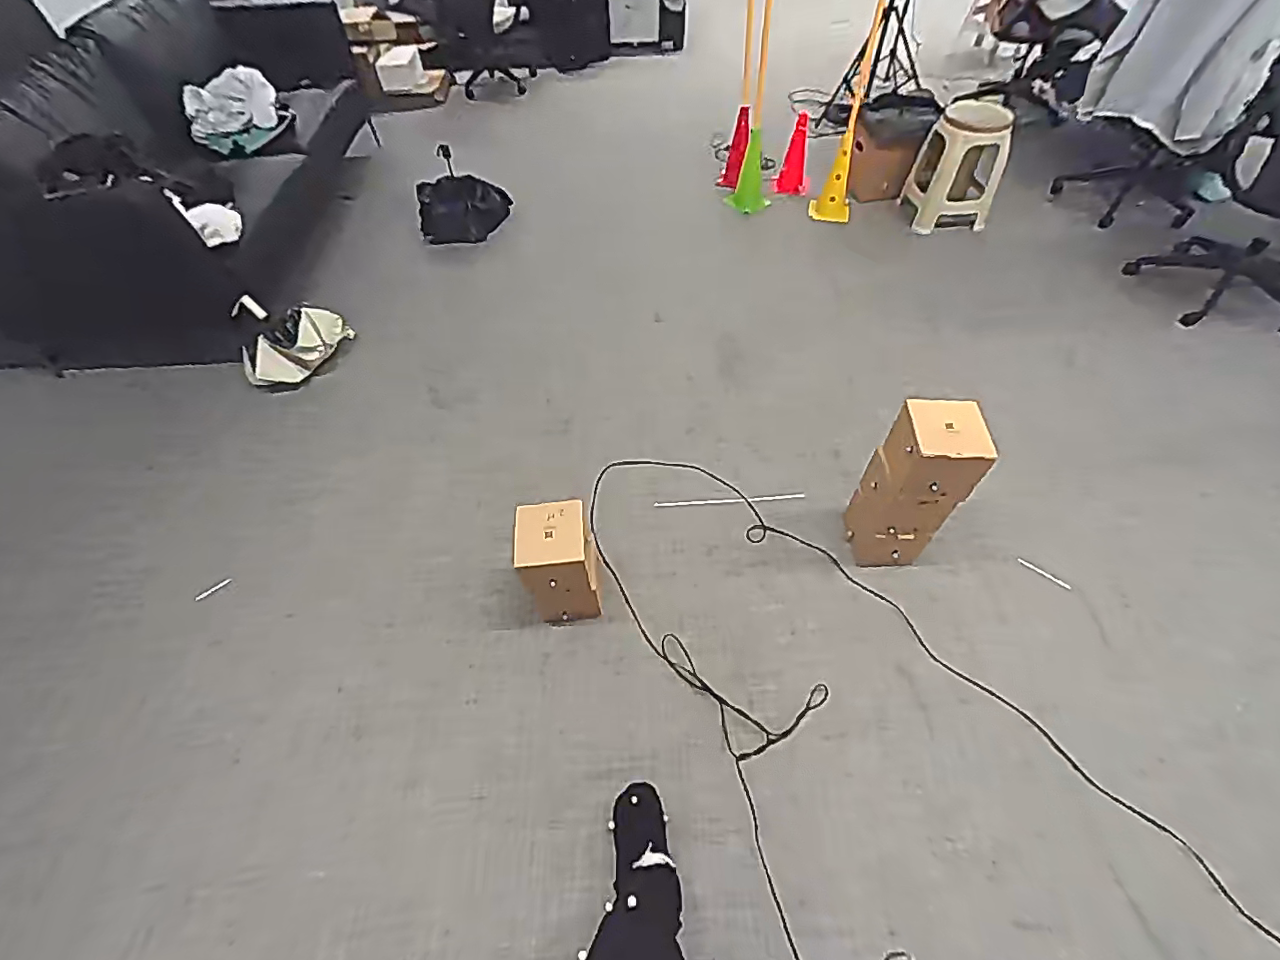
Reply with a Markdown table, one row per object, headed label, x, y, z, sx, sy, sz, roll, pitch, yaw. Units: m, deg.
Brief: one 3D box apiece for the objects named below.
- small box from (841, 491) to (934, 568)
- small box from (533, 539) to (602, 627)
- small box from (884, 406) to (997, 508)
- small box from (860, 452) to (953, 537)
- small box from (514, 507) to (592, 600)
| label | x | y | z | sx | sy | sz | roll | pitch | yaw |
| --- | --- | --- | --- | --- | --- | --- | --- | --- | --- |
| small box | 0.705 | 0.146 | 1.562 | 0.168 | 0.176 | 0.179 | -2 | 55 | -3 |
| small box | -0.197 | 0.285 | 1.491 | 0.168 | 0.176 | 0.179 | -6 | 53 | -1 |
| small box | 0.708 | -0.055 | 1.301 | 0.168 | 0.176 | 0.179 | 3 | 54 | 4 |
| small box | 0.705 | 0.042 | 1.432 | 0.168 | 0.176 | 0.179 | -2 | 52 | 1 |
| small box | -0.213 | 0.191 | 1.358 | 0.168 | 0.176 | 0.179 | -6 | 53 | -2 |
